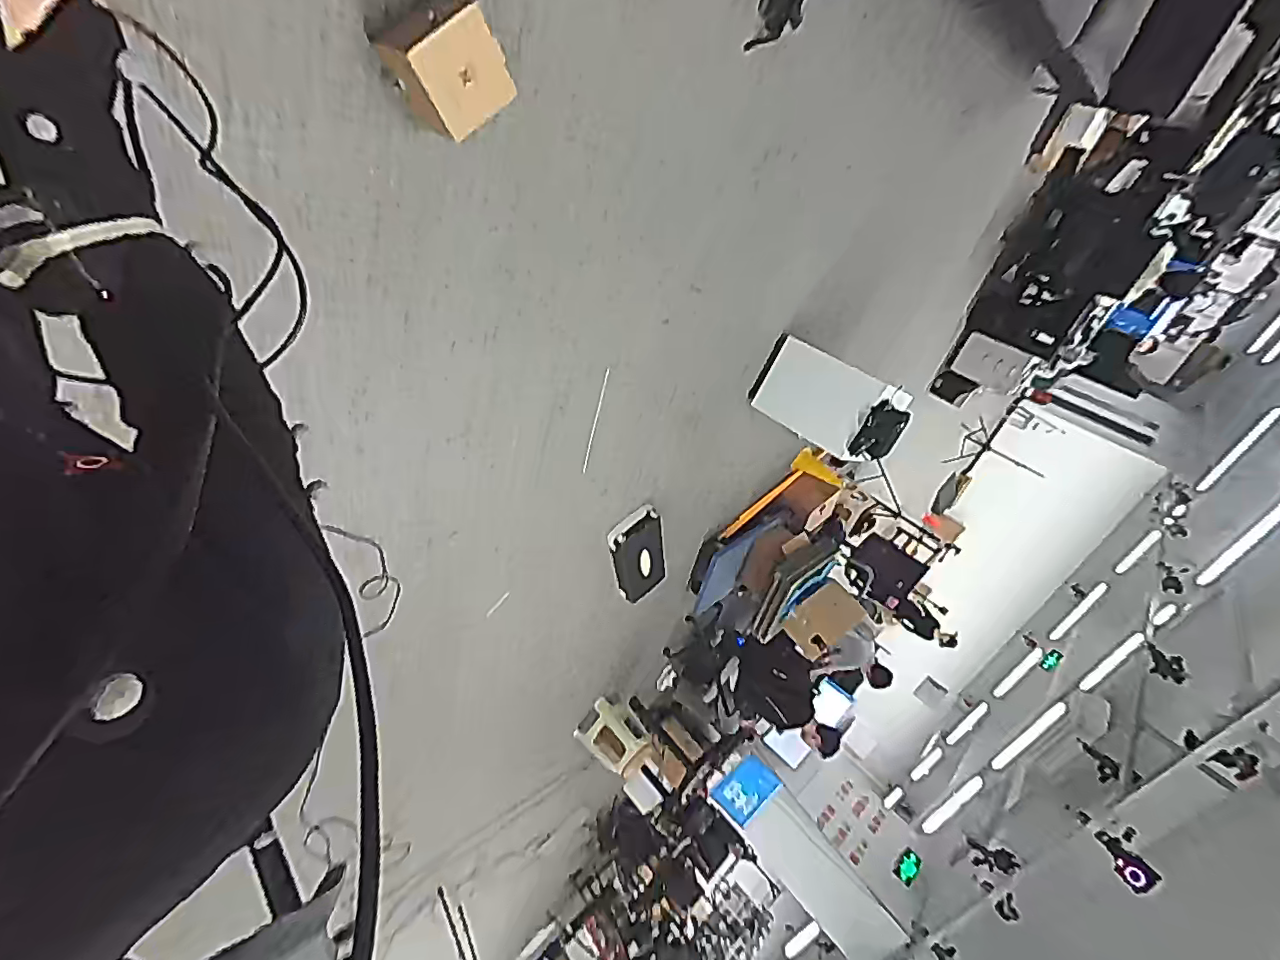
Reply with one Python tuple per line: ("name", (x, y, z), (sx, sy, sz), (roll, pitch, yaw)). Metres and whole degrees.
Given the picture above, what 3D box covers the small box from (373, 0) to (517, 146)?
("small box", (-0.387, -0.811, 1.074), (0.179, 0.176, 0.168), (-45, 148, -8))
